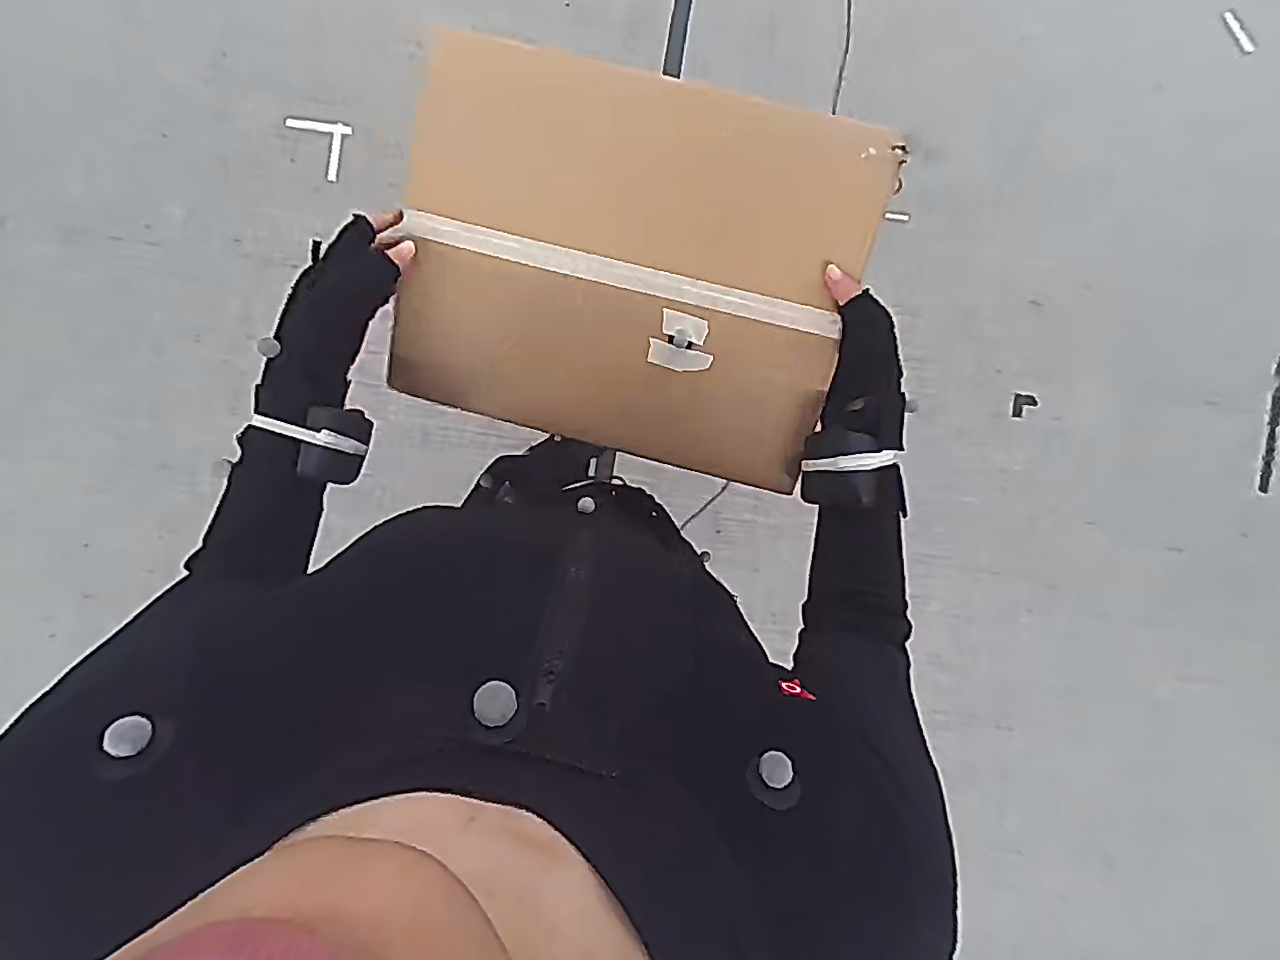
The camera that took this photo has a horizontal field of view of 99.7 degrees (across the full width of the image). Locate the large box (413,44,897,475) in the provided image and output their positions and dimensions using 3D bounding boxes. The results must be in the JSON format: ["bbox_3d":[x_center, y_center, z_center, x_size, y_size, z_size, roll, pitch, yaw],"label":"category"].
[{"bbox_3d":[0.008,-0.229,0.646,0.408,0.320,0.320,15,106,3],"label":"large box"}]
